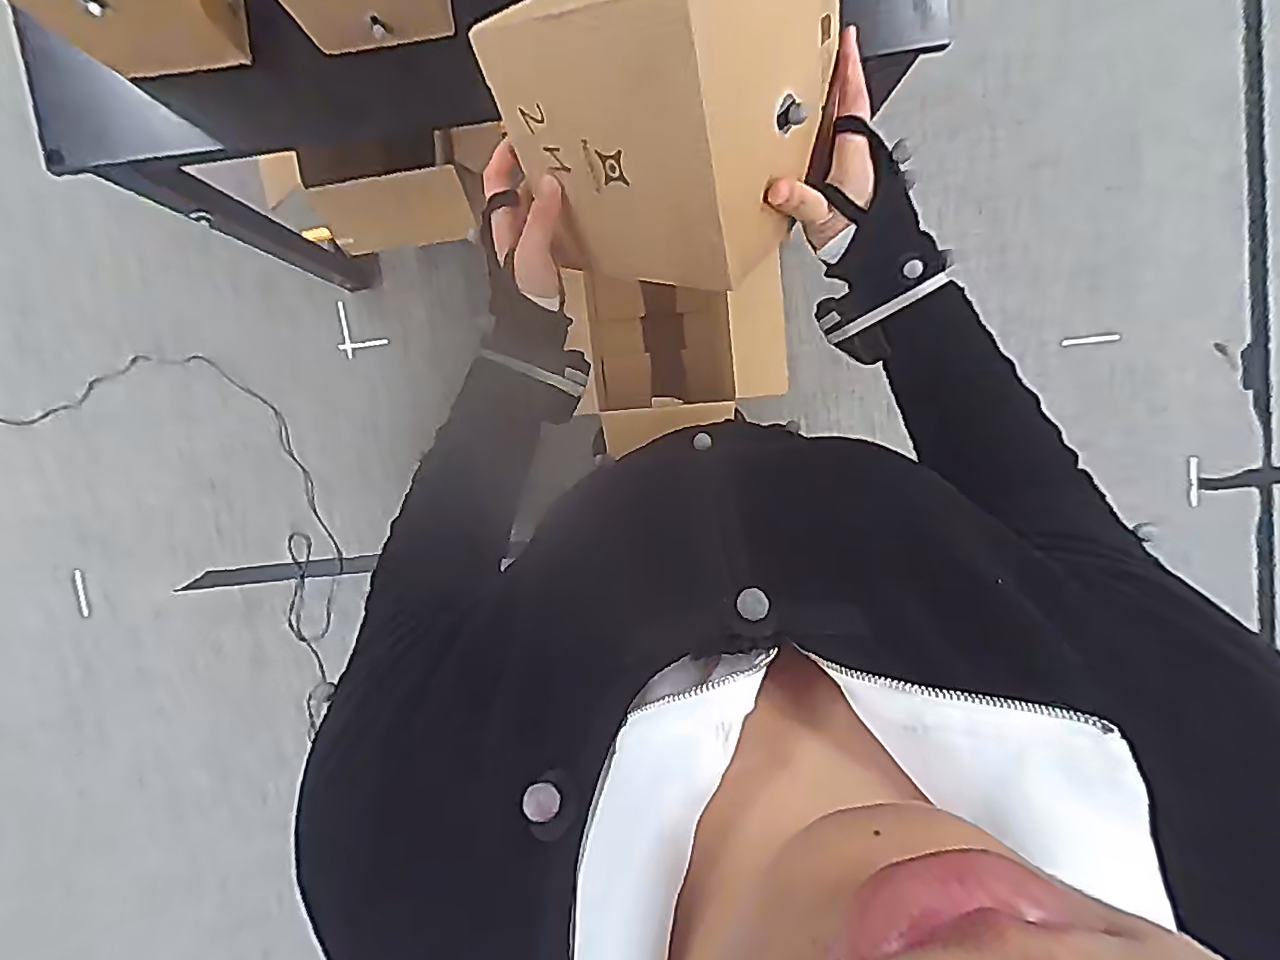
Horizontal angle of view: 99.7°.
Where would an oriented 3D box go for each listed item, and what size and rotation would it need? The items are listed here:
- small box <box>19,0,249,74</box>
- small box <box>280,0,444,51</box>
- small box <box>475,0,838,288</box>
[{"bbox_3d":[-0.599,-0.602,0.615,0.179,0.176,0.168,-6,96,0],"label":"small box"},{"bbox_3d":[-0.337,-0.635,0.612,0.179,0.176,0.168,-9,95,0],"label":"small box"},{"bbox_3d":[0.028,-0.263,0.384,0.179,0.168,0.176,22,59,33],"label":"small box"}]
